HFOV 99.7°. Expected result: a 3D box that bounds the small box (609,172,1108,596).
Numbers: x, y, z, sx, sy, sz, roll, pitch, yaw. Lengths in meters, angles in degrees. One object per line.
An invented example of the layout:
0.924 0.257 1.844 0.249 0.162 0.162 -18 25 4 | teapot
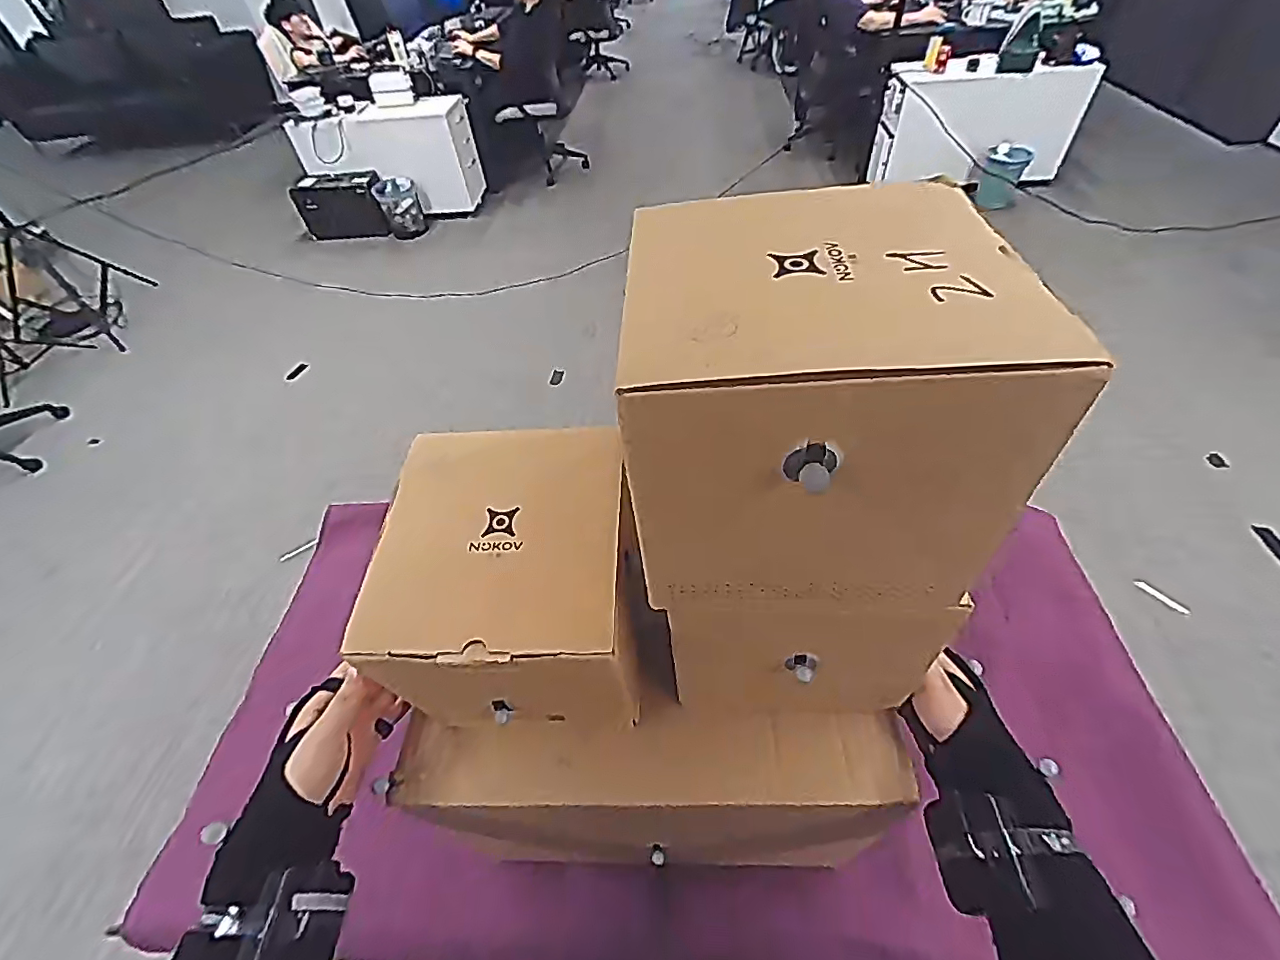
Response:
0.087 -0.046 0.303 0.179 0.176 0.168 -2 48 6 | small box
